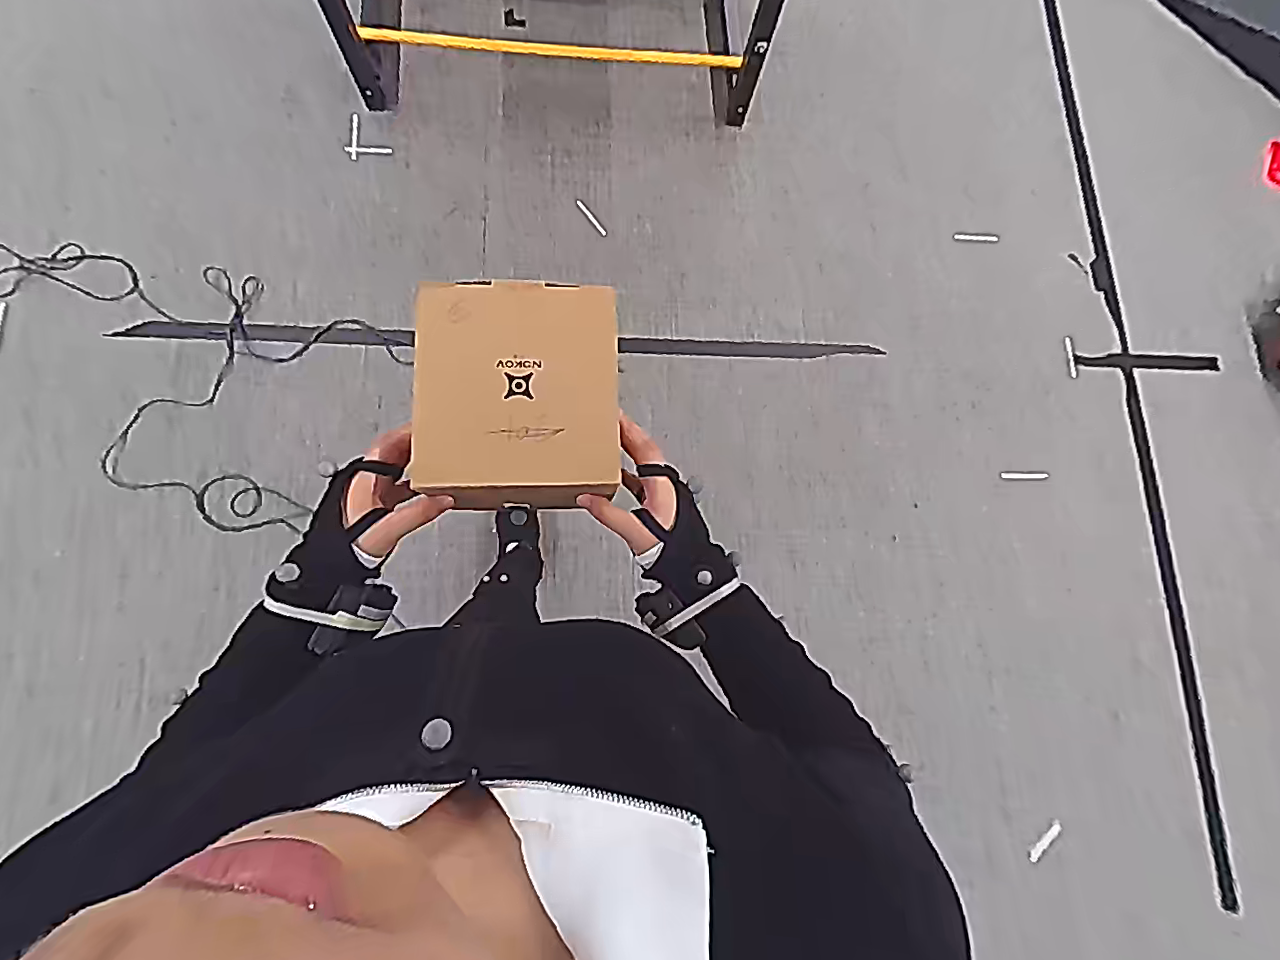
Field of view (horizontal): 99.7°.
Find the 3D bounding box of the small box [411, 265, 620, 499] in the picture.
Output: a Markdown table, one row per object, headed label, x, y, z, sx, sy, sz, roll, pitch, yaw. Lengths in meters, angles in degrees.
| label | x | y | z | sx | sy | sz | roll | pitch | yaw |
| --- | --- | --- | --- | --- | --- | --- | --- | --- | --- |
| small box | -0.110 | -0.080 | 0.522 | 0.168 | 0.176 | 0.179 | -1 | 81 | -7 |
